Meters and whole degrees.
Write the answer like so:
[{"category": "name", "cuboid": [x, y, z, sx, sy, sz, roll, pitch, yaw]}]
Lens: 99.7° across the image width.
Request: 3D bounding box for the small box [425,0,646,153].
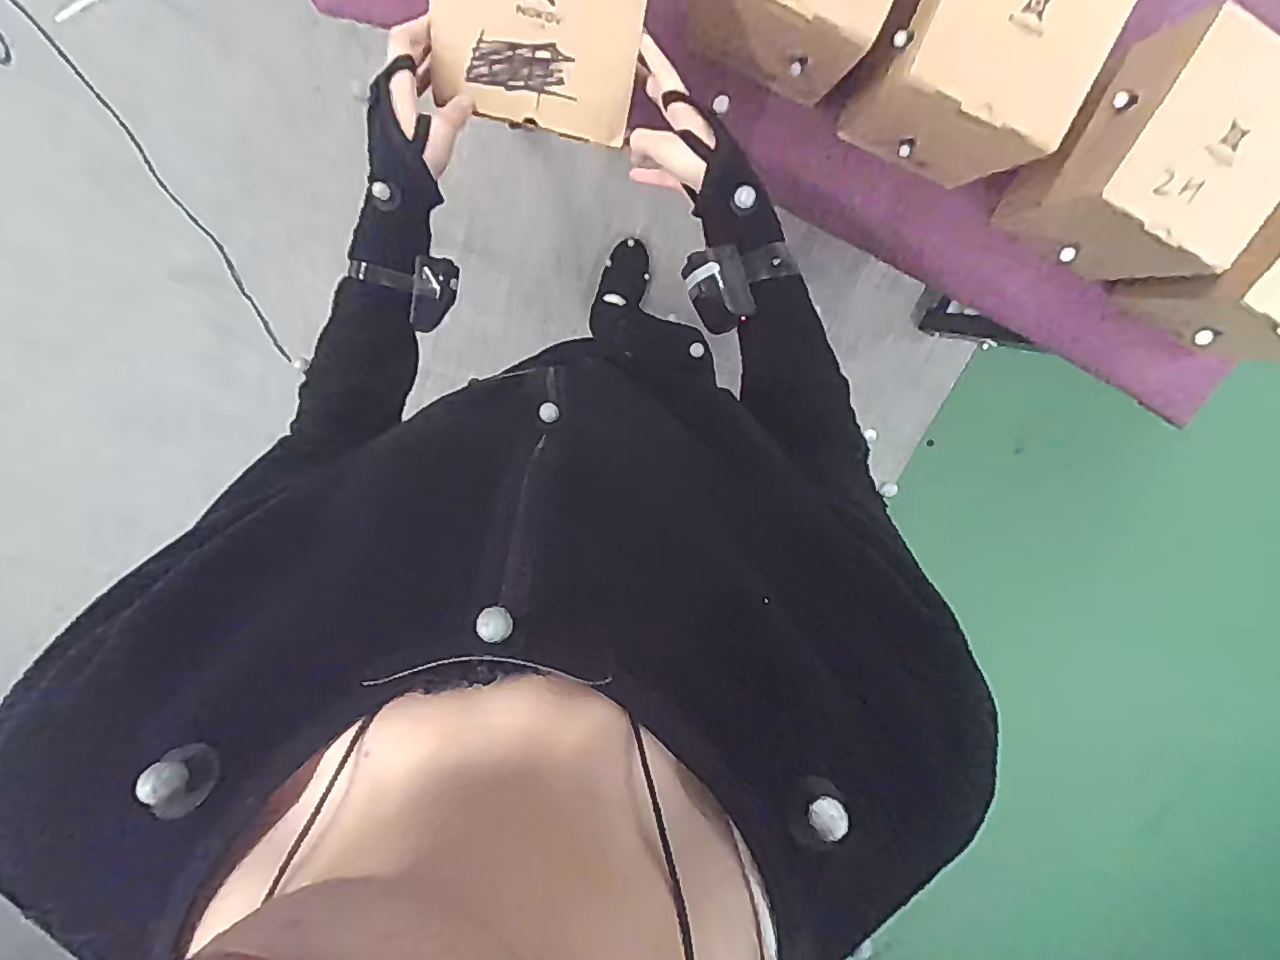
[{"category": "small box", "cuboid": [-0.081, -0.417, 0.475, 0.168, 0.176, 0.179, 8, 128, -8]}]
